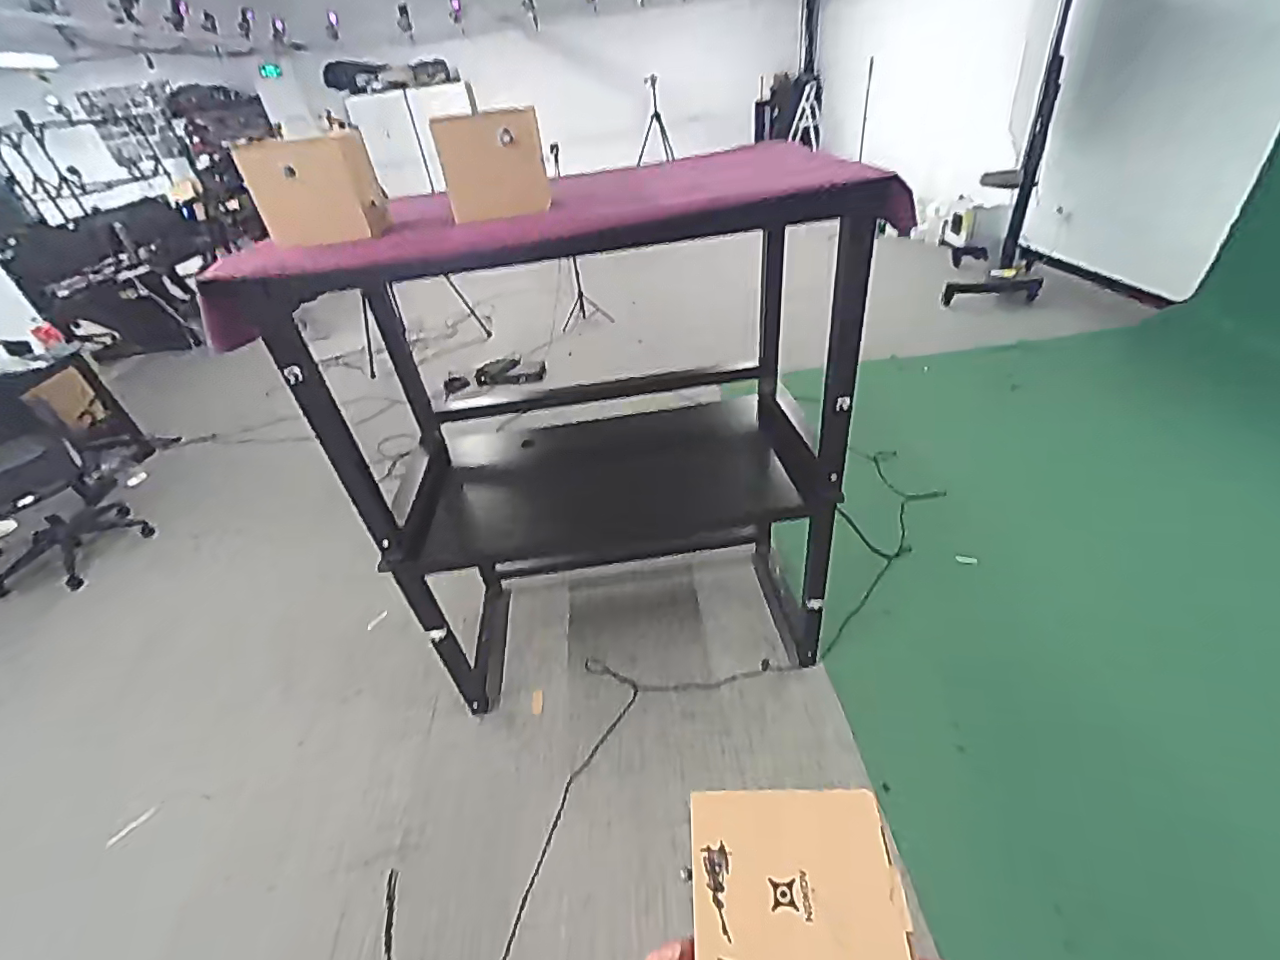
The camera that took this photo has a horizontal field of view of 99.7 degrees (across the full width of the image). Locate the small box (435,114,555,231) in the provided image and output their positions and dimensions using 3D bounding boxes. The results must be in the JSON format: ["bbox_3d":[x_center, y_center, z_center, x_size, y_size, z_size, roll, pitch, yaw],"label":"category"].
[{"bbox_3d":[-0.267,-0.594,1.043,0.179,0.176,0.168,-8,35,0],"label":"small box"}]

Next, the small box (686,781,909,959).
[{"bbox_3d":[0.136,0.406,0.515,0.179,0.176,0.168,-4,42,8],"label":"small box"}]

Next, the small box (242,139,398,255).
[{"bbox_3d":[-0.594,-0.539,1.031,0.179,0.176,0.168,-9,36,-4],"label":"small box"}]
